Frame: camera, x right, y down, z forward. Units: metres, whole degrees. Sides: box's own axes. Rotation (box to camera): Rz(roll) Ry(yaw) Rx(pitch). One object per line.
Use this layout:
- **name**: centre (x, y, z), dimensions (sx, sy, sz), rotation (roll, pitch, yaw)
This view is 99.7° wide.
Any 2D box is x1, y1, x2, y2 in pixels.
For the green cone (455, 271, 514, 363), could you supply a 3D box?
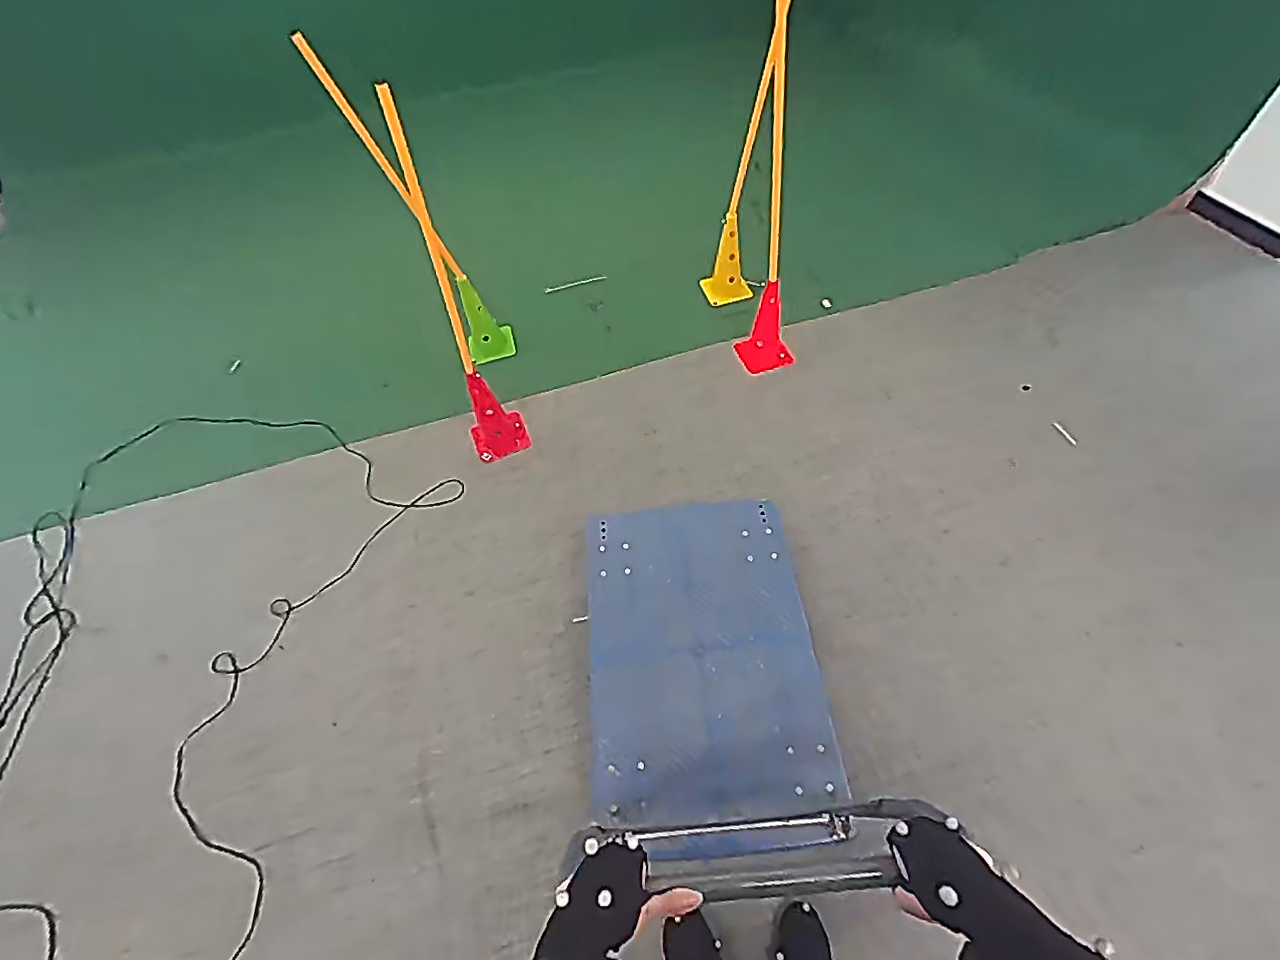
- **green cone**: centre (-0.683, -0.702, 2.260), dimensions (0.200, 0.368, 0.202), rotation (-17, 55, -5)

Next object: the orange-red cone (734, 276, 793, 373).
- **orange-red cone**: centre (0.492, -0.622, 2.088), dimensions (0.198, 0.360, 0.199), rotation (-15, 54, -6)
